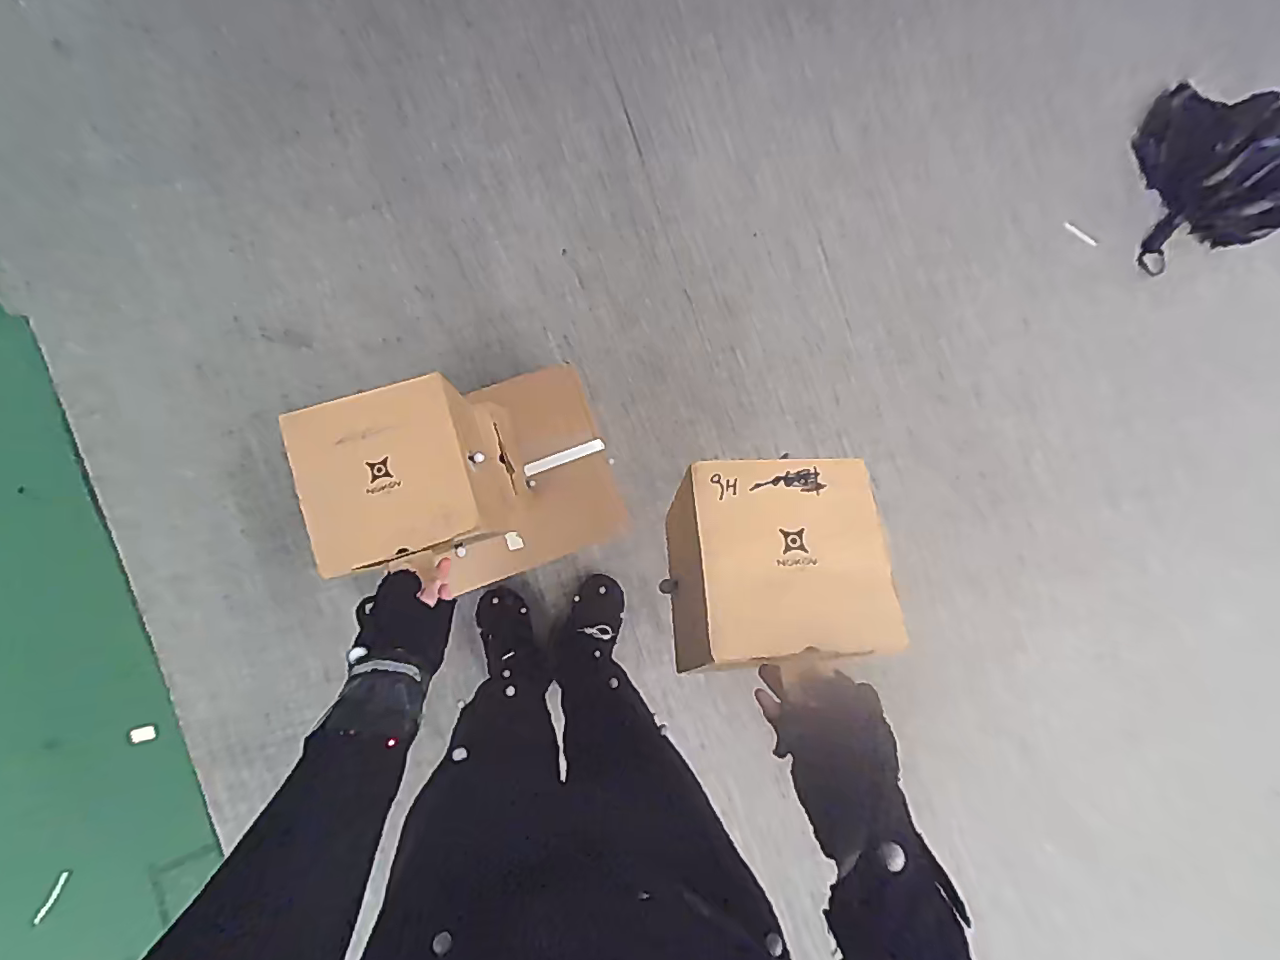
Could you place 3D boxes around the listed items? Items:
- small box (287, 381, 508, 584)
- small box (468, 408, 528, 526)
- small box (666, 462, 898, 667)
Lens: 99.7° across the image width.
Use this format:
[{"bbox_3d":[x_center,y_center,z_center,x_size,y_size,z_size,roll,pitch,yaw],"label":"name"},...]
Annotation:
[{"bbox_3d":[-0.265,0.007,0.633,0.168,0.176,0.179,-17,85,-6],"label":"small box"},{"bbox_3d":[-0.271,-0.007,0.806,0.179,0.176,0.168,-13,94,-5],"label":"small box"},{"bbox_3d":[0.122,0.093,0.544,0.168,0.176,0.179,0,68,-8],"label":"small box"}]
